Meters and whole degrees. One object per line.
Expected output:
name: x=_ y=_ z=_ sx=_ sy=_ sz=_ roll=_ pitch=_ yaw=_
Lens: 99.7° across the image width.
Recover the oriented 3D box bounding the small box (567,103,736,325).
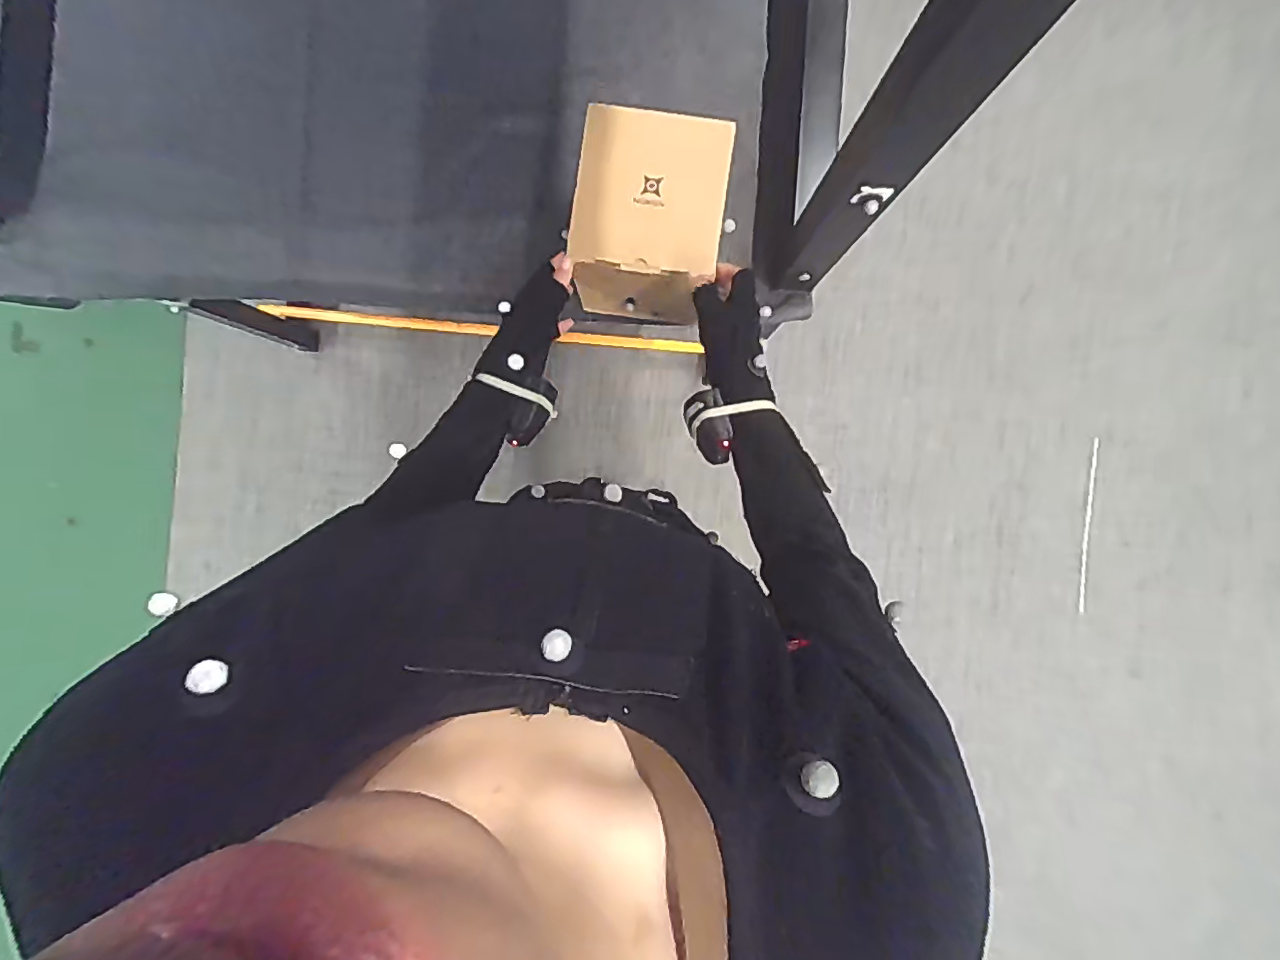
small box: x=0.012 y=-0.310 z=0.664 sx=0.168 sy=0.176 sz=0.179 roll=8 pitch=89 yaw=1
